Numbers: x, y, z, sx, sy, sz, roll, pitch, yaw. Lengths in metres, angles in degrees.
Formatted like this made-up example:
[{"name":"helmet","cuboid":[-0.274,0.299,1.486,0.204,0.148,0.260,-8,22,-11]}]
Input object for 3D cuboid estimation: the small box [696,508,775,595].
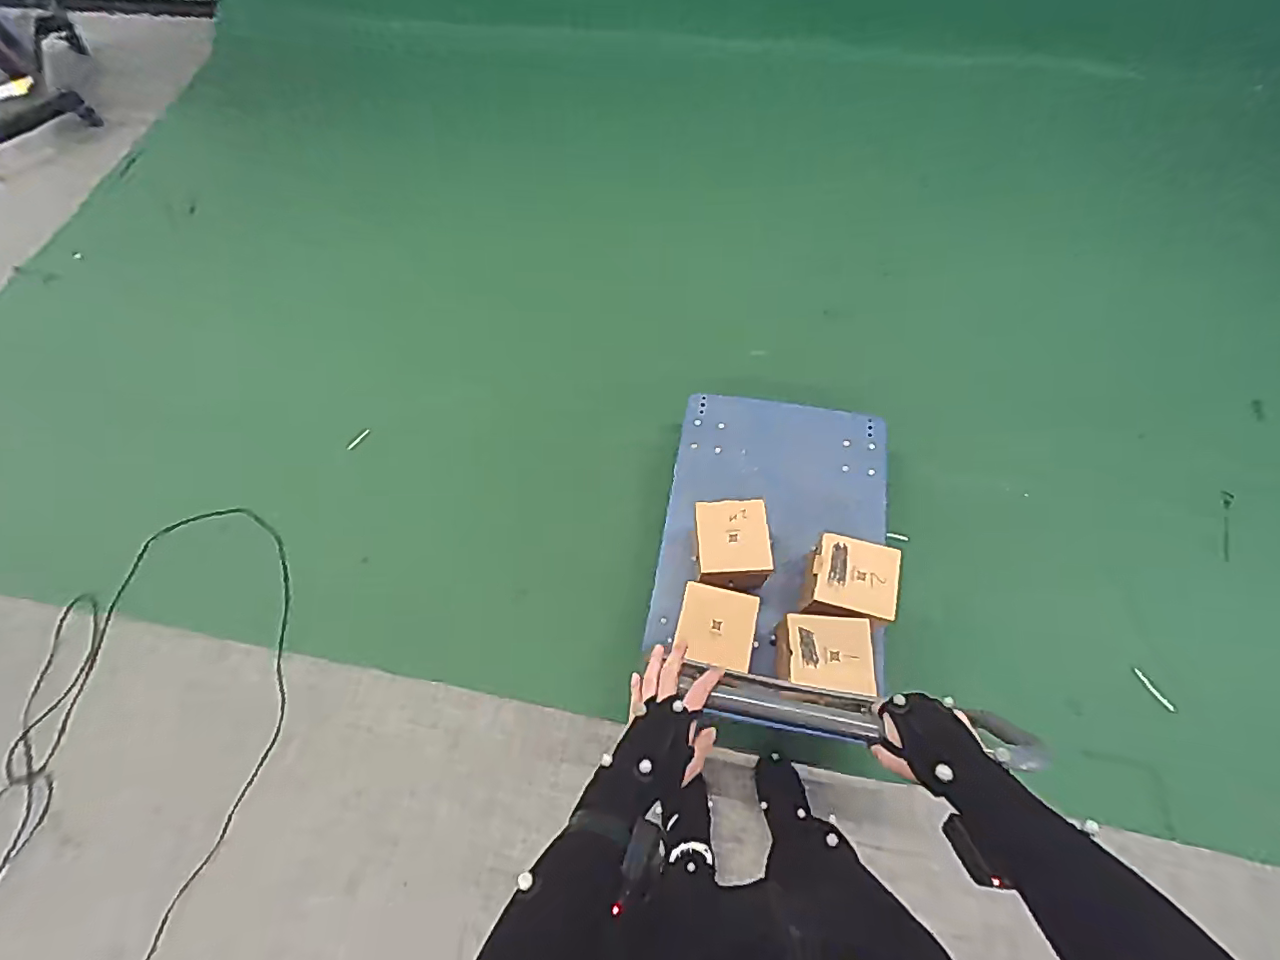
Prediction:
[{"name":"small box","cuboid":[0.226,0.181,1.320,0.168,0.176,0.179,-2,64,1]}]
